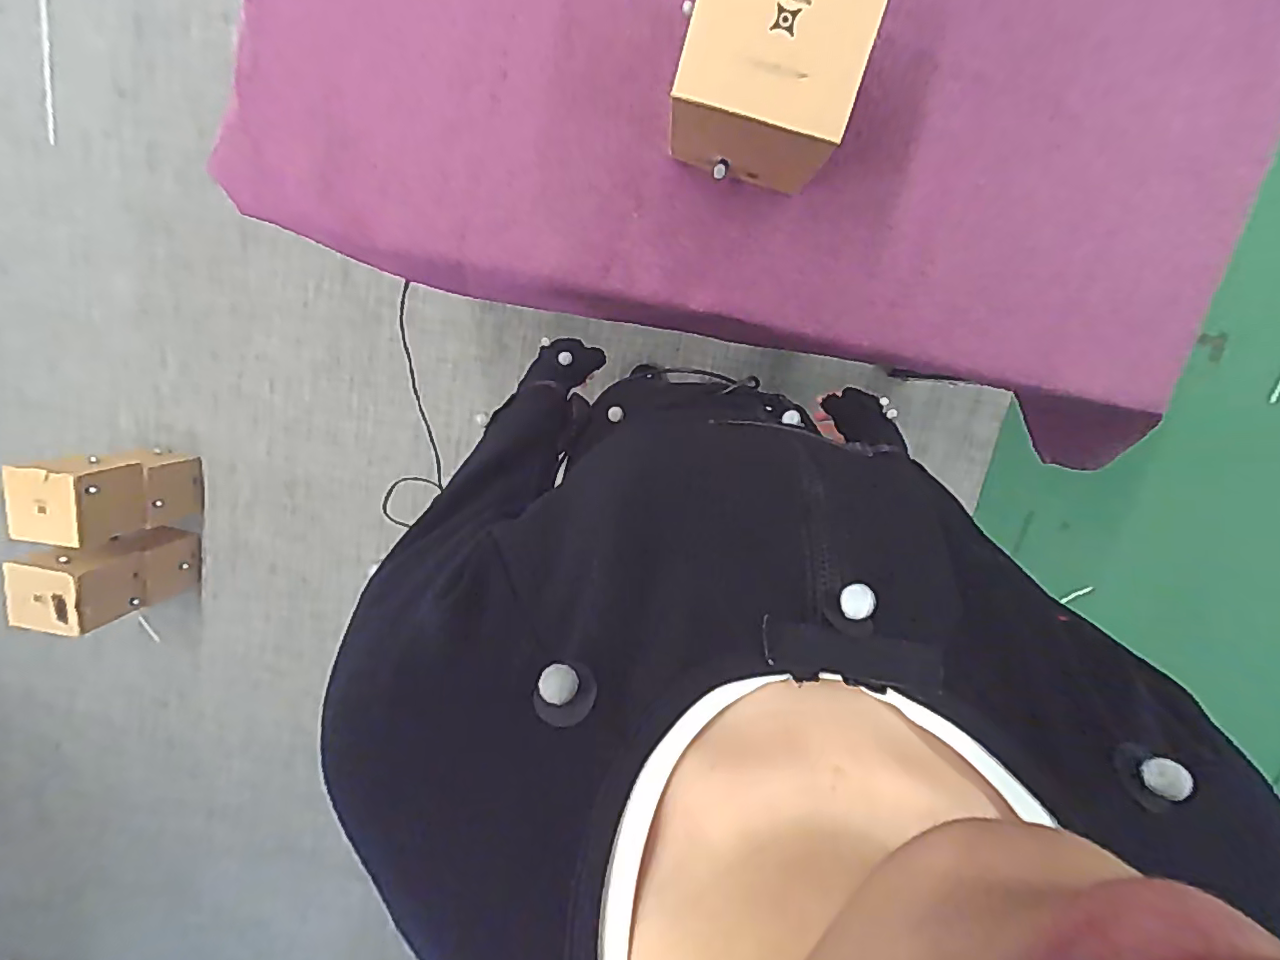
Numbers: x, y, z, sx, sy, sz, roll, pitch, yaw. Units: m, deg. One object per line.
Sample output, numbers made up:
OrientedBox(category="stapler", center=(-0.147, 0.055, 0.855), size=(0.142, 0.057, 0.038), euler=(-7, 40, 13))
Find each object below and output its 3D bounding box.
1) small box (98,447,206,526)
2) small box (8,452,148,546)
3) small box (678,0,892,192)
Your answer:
OrientedBox(category="small box", center=(-1.323, 0.010, 1.457), size=(0.179, 0.176, 0.168), euler=(9, 103, 1))
OrientedBox(category="small box", center=(-1.333, 0.040, 1.297), size=(0.168, 0.176, 0.179), euler=(8, 102, 0))
OrientedBox(category="small box", center=(0.137, -0.431, 0.555), size=(0.168, 0.176, 0.179), euler=(16, 103, -1))
